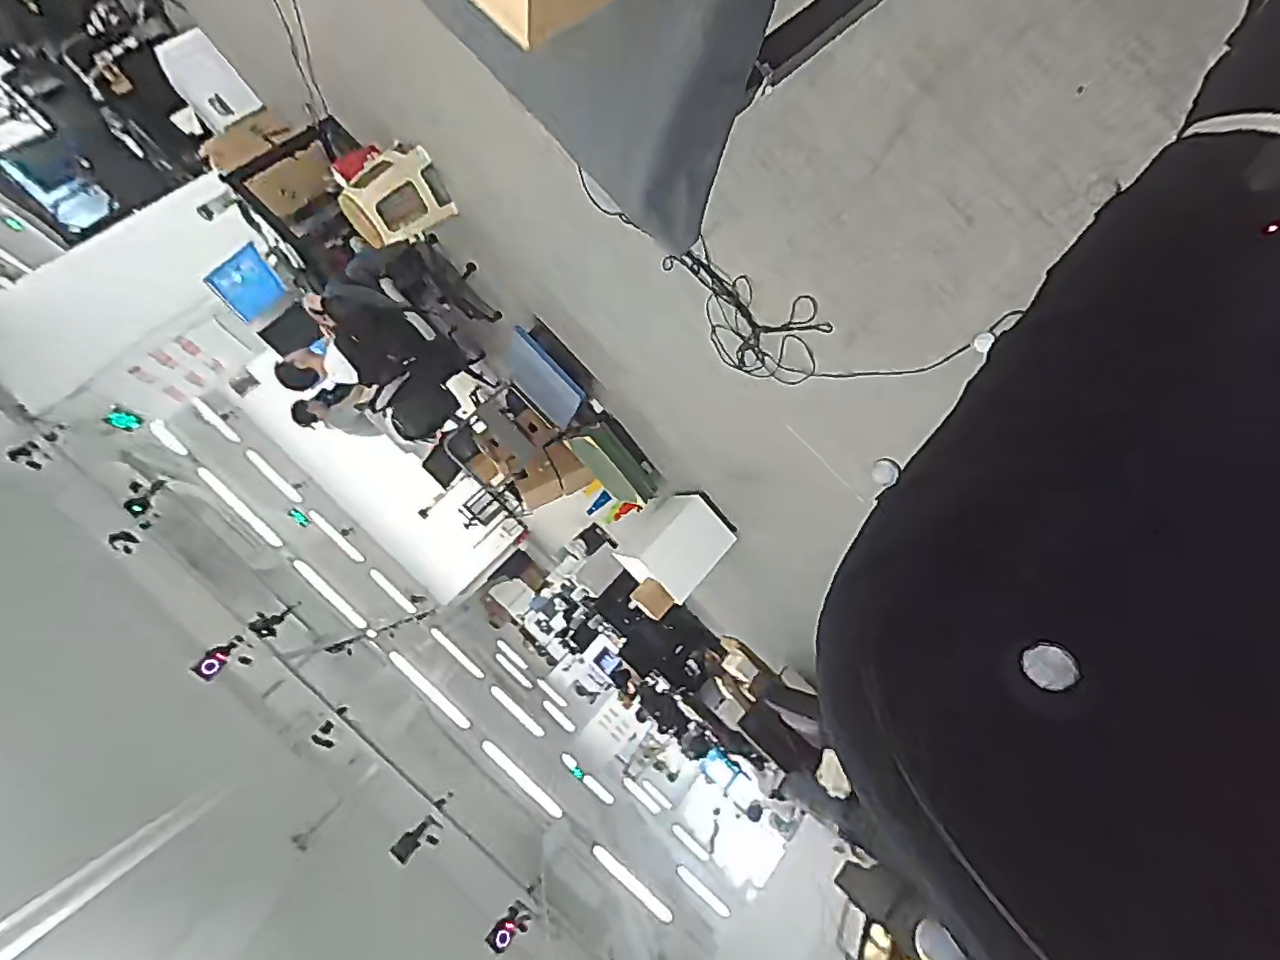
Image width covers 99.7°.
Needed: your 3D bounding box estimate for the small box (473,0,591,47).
[{"bbox_3d":[-0.085,-0.500,0.411,0.179,0.176,0.168,44,163,-1],"label":"small box"}]
